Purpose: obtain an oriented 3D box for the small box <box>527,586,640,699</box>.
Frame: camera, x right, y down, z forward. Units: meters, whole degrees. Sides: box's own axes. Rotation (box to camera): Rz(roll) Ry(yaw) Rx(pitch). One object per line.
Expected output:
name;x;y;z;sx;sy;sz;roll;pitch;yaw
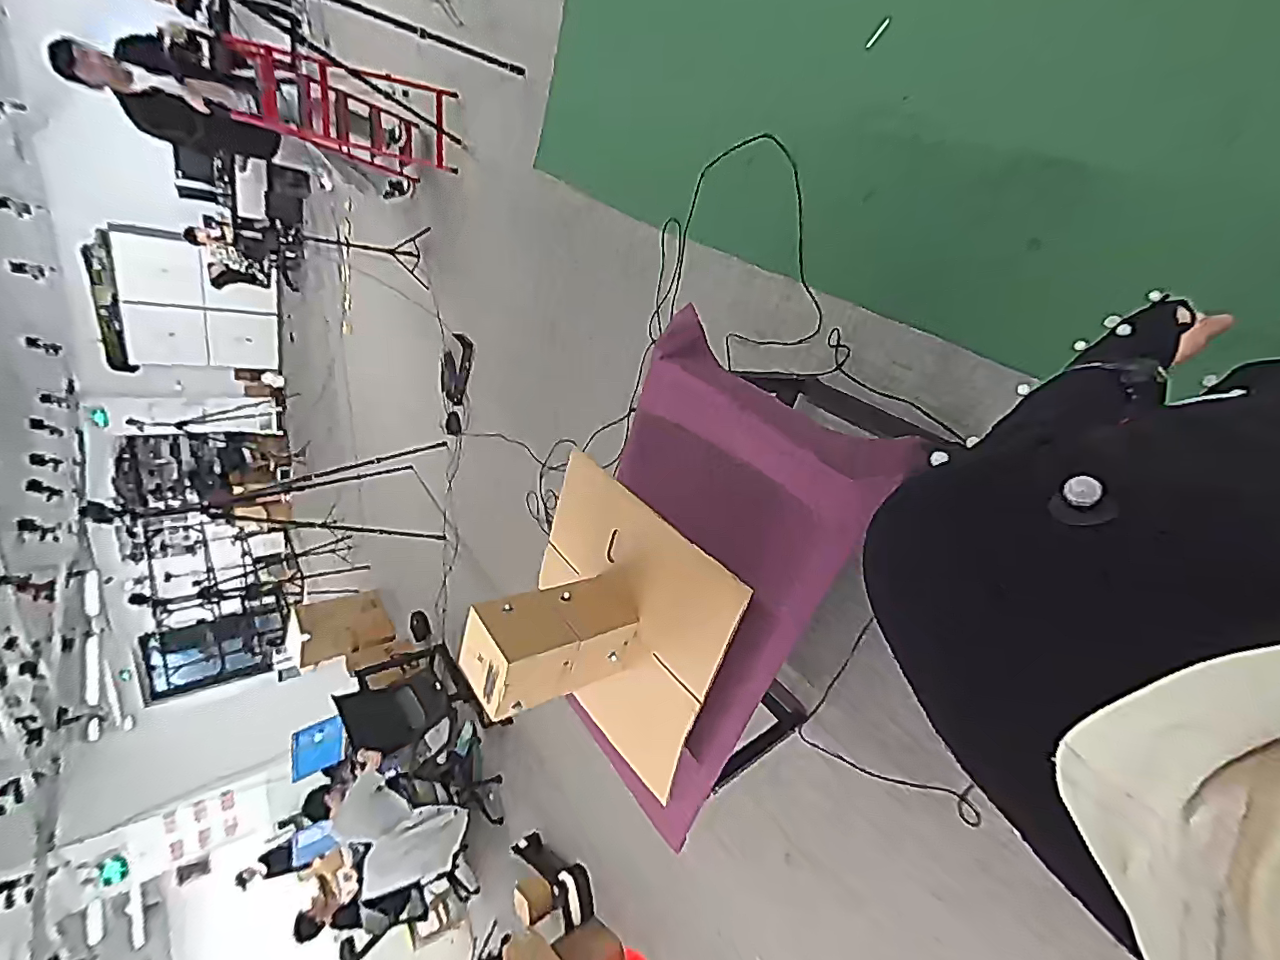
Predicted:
small box;-0.132;0.365;1.255;0.179;0.176;0.168;39;121;37
